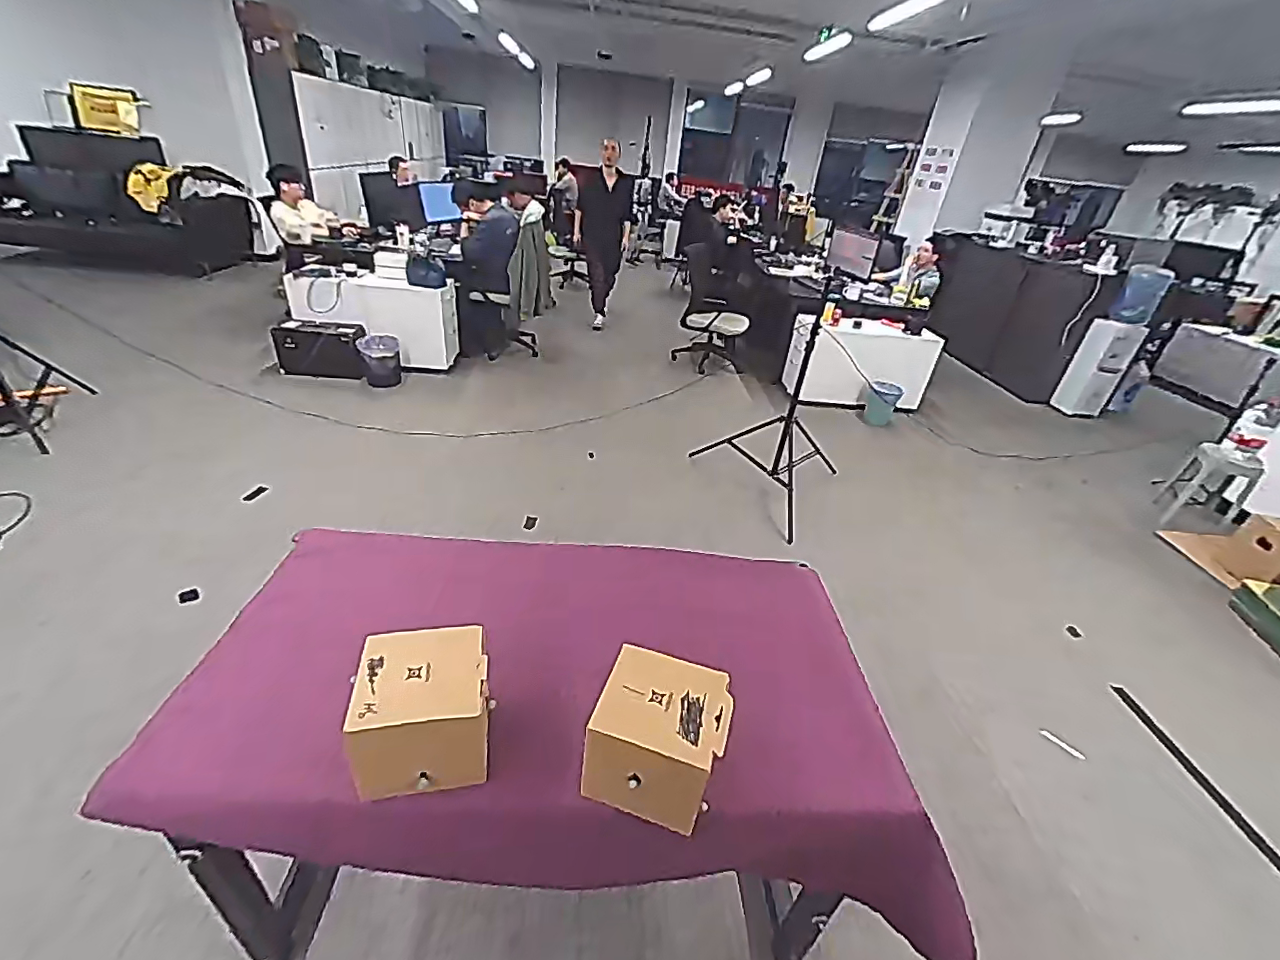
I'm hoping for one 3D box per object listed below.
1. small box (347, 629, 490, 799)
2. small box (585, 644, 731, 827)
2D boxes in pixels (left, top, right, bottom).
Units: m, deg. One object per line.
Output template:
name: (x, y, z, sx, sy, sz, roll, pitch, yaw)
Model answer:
small box: (-0.322, 0.352, 0.825, 0.179, 0.176, 0.168, -1, 31, -14)
small box: (0.027, 0.391, 0.830, 0.179, 0.176, 0.168, 13, 31, 13)
